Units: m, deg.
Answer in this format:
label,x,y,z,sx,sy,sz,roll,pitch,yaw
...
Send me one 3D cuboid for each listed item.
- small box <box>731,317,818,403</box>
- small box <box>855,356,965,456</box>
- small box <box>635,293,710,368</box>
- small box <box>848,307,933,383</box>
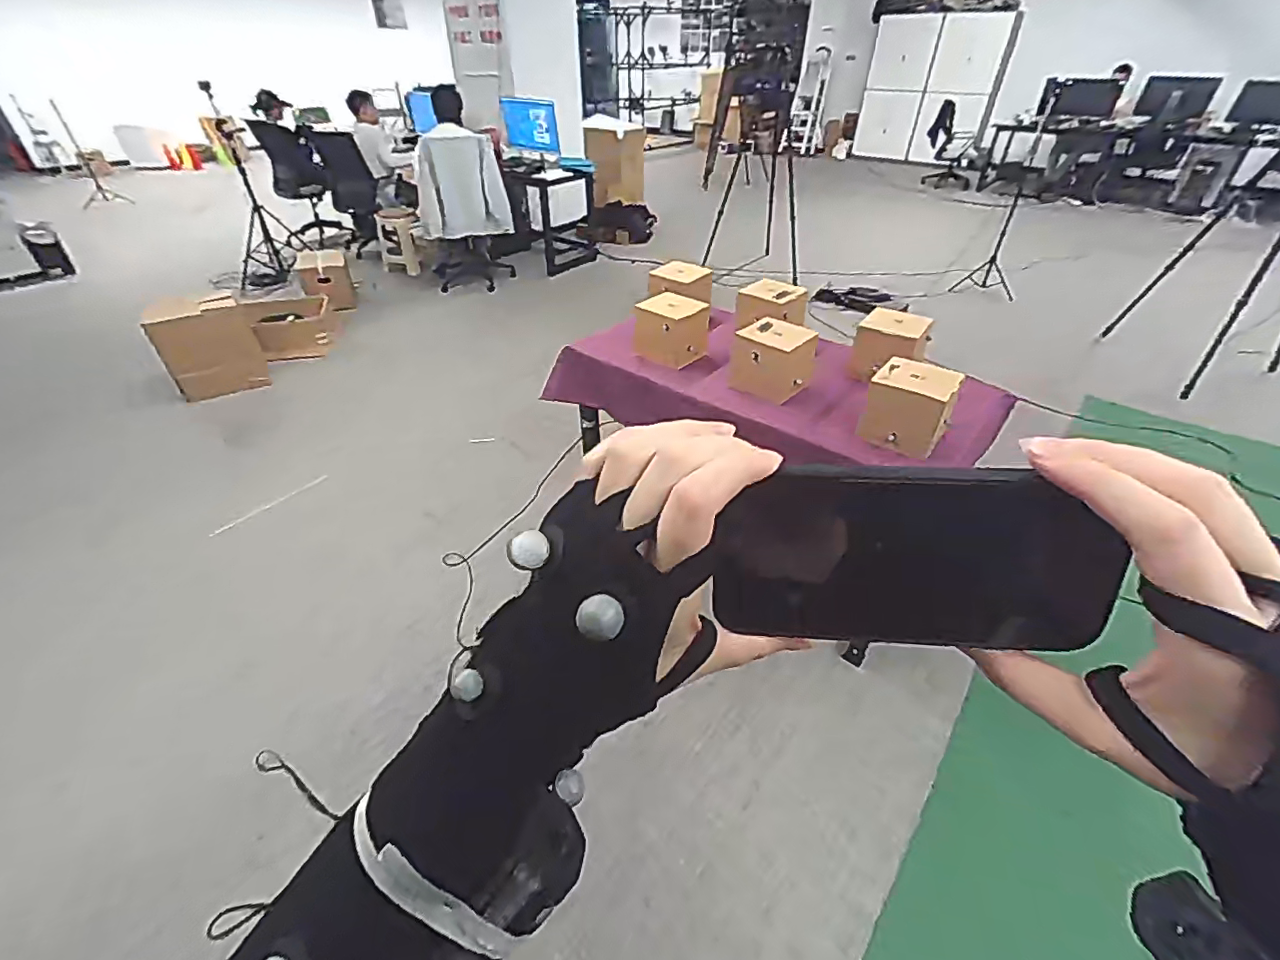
label,x,y,z,sx,sy,sz,roll,pitch,yaw
small box,0.380,-0.344,1.553,0.179,0.176,0.168,31,48,32
small box,0.665,-0.181,1.344,0.179,0.176,0.168,27,45,29
small box,0.099,-0.476,1.723,0.179,0.176,0.168,29,47,30
small box,0.738,-0.392,1.607,0.168,0.176,0.179,25,45,29
